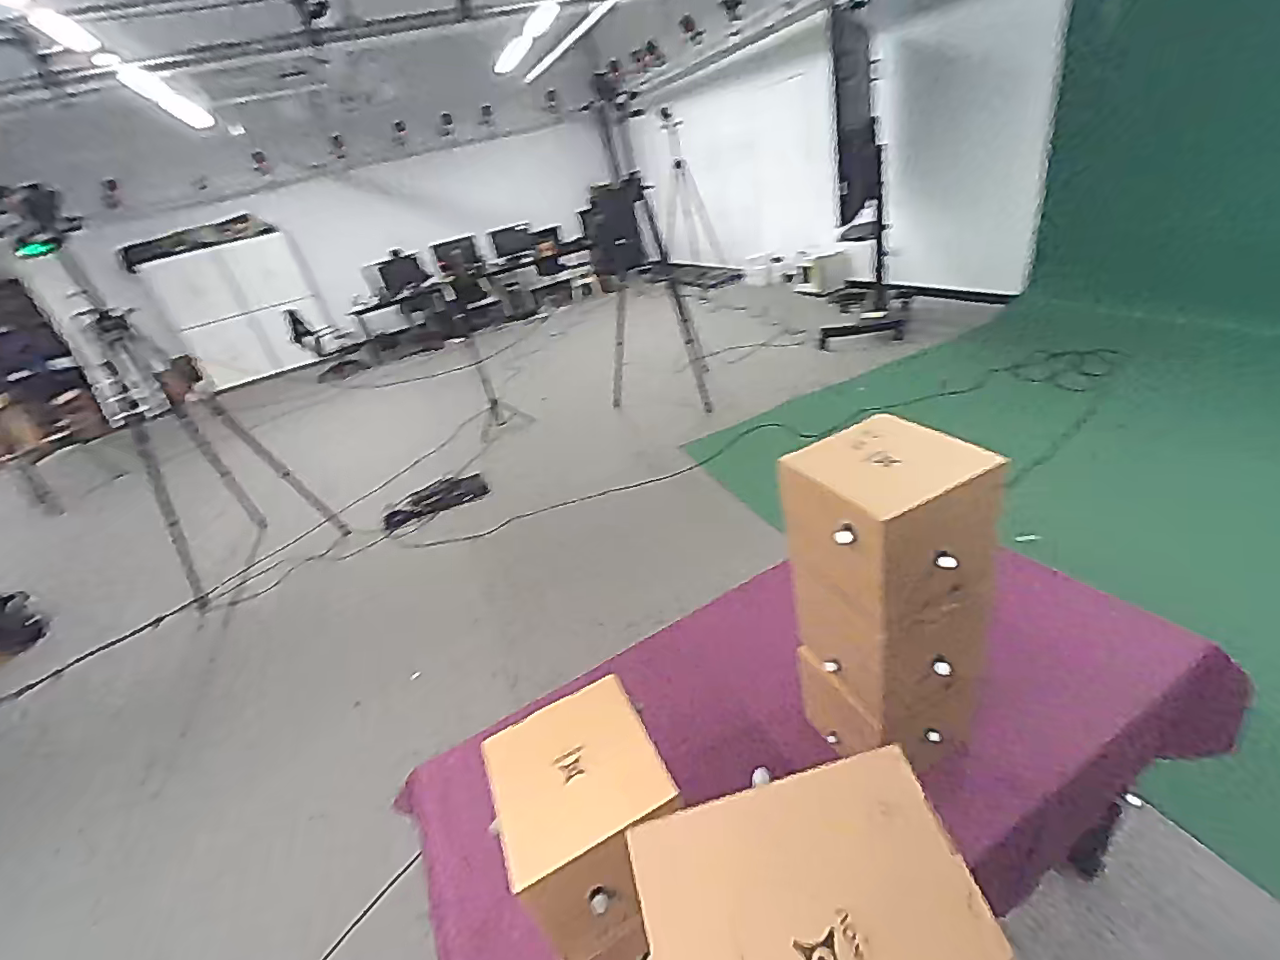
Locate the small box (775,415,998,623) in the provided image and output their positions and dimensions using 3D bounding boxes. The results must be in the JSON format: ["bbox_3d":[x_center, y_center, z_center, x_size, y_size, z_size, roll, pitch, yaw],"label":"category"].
[{"bbox_3d":[0.289,0.047,0.654,0.168,0.176,0.179,-23,30,-14],"label":"small box"}]

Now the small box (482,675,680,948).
[{"bbox_3d":[-0.055,0.365,0.600,0.168,0.176,0.179,-24,30,-16],"label":"small box"}]

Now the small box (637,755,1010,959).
[{"bbox_3d":[0.107,0.298,0.337,0.179,0.176,0.168,-15,49,-4],"label":"small box"}]

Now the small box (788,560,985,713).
[{"bbox_3d":[0.327,0.185,0.737,0.168,0.176,0.179,-22,31,-12],"label":"small box"}]
